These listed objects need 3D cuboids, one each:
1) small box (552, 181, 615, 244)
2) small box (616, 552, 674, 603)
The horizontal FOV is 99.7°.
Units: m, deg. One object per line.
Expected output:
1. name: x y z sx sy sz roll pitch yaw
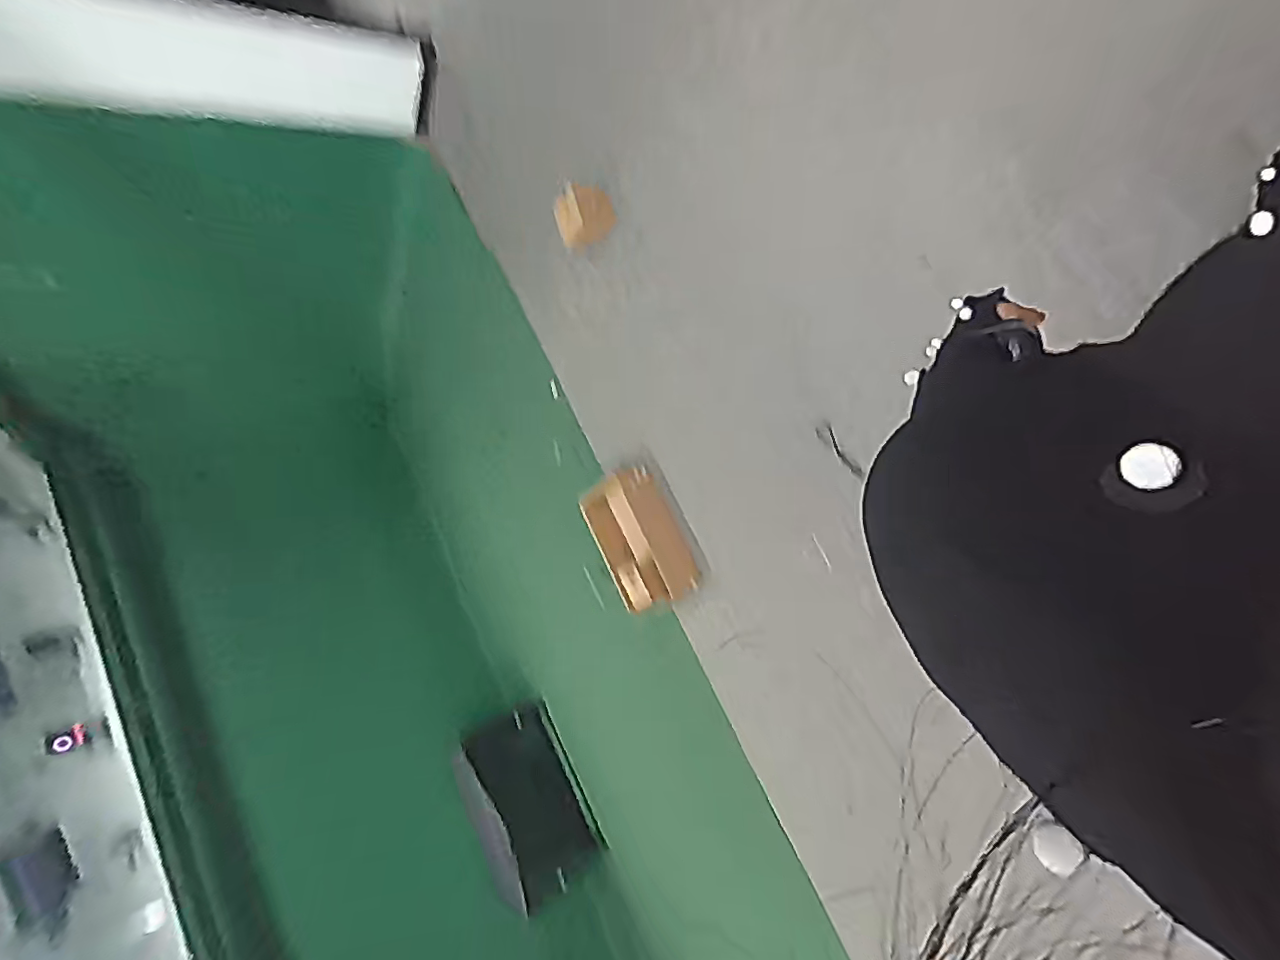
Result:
1. small box: -0.225 -1.090 2.200 0.168 0.176 0.179 -19 91 54
2. small box: 0.025 0.445 2.504 0.168 0.176 0.179 -38 76 51
